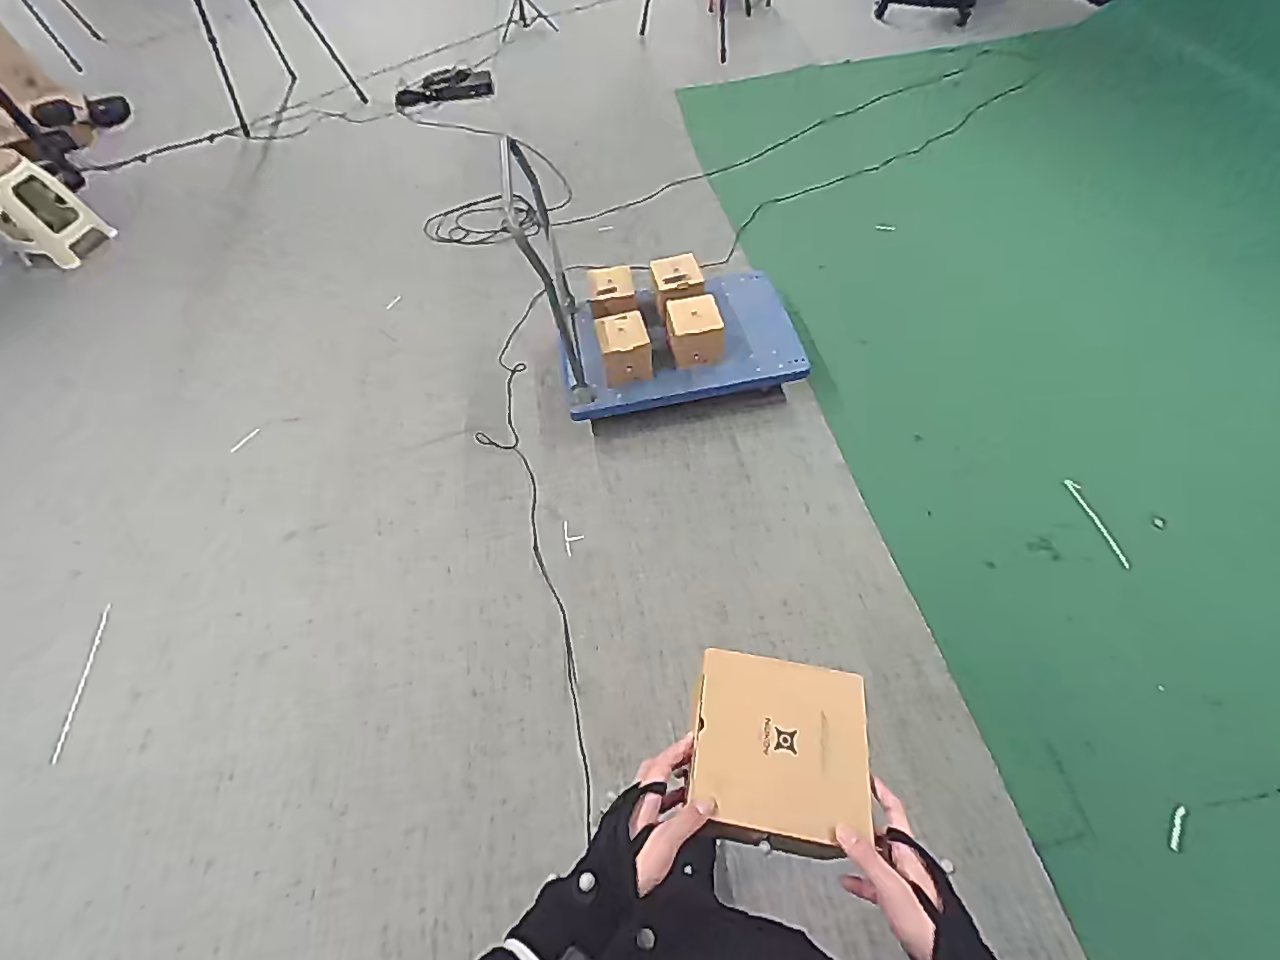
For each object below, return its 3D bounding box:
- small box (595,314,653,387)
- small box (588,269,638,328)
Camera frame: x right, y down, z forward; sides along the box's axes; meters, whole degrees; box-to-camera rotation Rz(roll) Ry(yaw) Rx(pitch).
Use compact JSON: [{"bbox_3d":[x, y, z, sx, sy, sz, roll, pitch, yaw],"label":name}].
[{"bbox_3d":[-0.052,-0.444,1.886,0.168,0.176,0.179,-13,57,-3],"label":"small box"},{"bbox_3d":[-0.097,-0.659,2.030,0.168,0.176,0.179,-8,56,-1],"label":"small box"}]
